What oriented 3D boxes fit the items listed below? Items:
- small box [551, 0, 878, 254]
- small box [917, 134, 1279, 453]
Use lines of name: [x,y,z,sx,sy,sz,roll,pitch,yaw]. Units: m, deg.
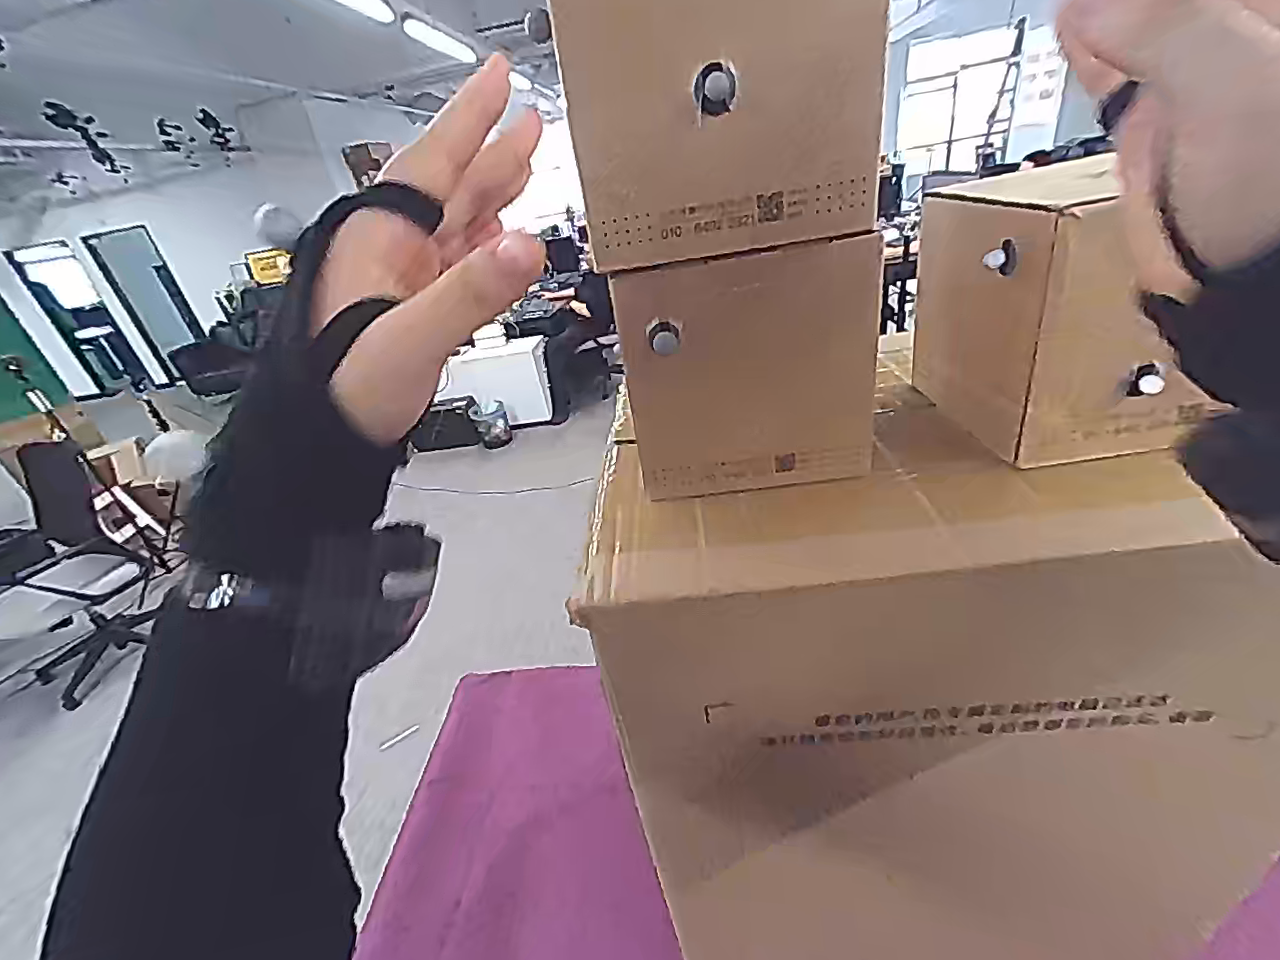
small box: [0.042,-0.250,0.347,0.168,0.176,0.179,-7,29,3]
small box: [0.322,-0.137,0.395,0.168,0.176,0.179,-9,30,6]
